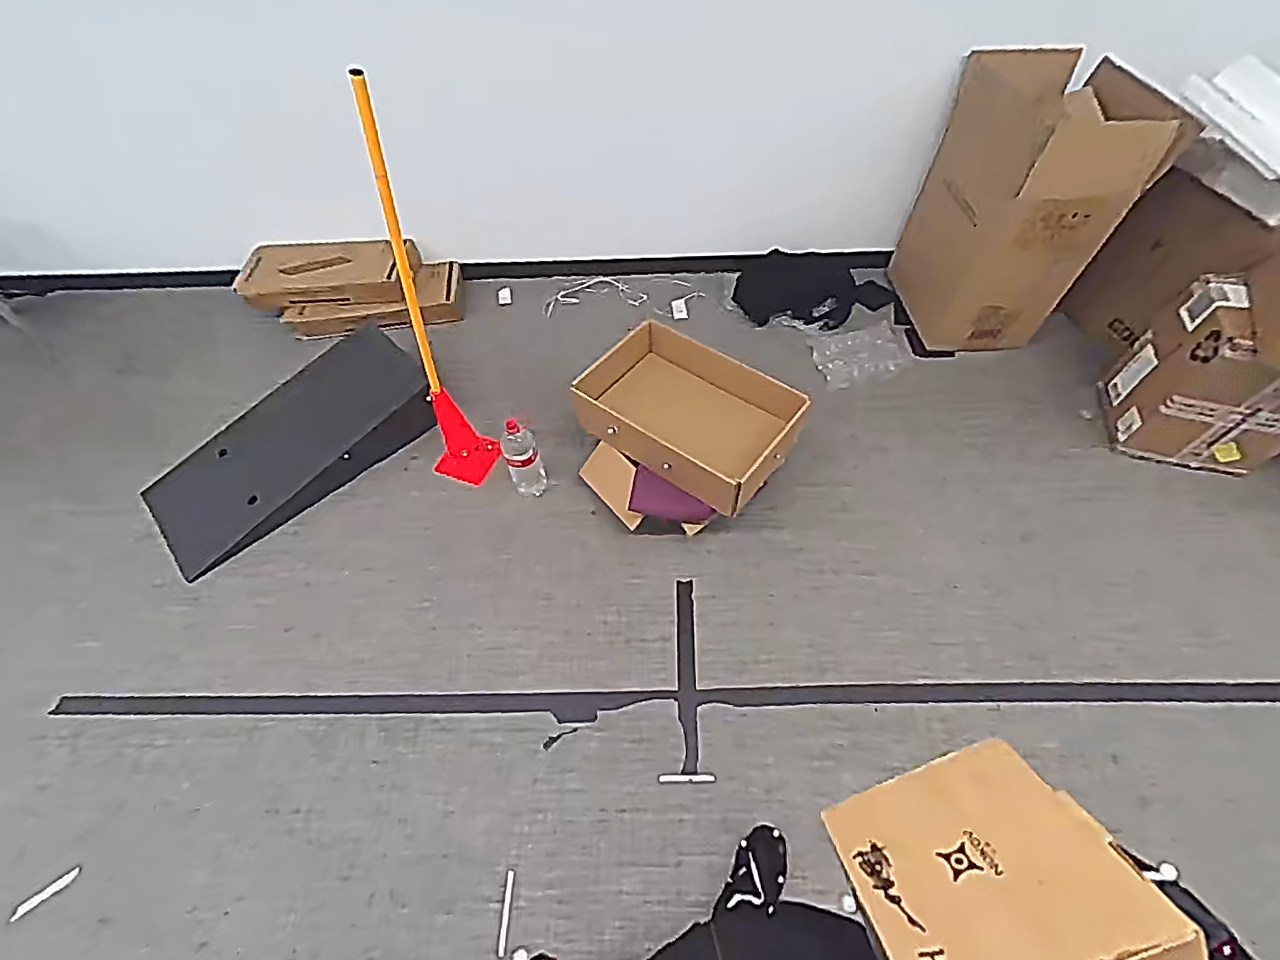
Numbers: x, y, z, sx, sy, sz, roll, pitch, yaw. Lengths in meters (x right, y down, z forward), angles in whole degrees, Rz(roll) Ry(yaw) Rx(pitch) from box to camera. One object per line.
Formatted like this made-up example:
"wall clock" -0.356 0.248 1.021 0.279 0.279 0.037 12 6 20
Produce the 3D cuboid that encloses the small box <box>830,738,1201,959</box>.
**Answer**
"small box" 0.285 0.355 0.430 0.179 0.176 0.168 -23 14 2
